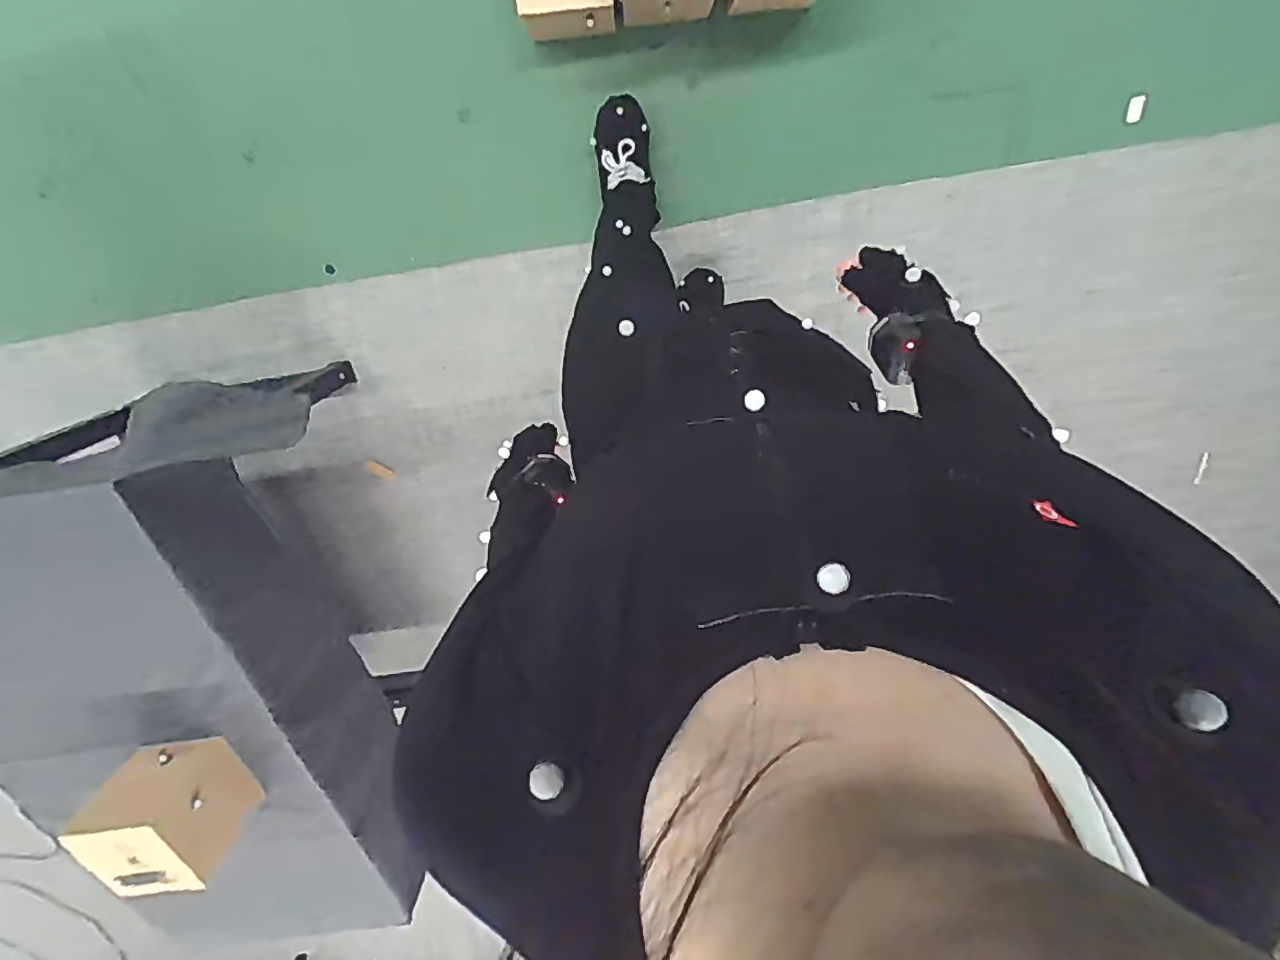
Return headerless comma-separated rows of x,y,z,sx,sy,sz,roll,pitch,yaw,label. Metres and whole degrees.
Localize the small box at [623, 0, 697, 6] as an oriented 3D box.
0.049,-0.890,0.861,0.179,0.176,0.168,-3,117,2,small box
